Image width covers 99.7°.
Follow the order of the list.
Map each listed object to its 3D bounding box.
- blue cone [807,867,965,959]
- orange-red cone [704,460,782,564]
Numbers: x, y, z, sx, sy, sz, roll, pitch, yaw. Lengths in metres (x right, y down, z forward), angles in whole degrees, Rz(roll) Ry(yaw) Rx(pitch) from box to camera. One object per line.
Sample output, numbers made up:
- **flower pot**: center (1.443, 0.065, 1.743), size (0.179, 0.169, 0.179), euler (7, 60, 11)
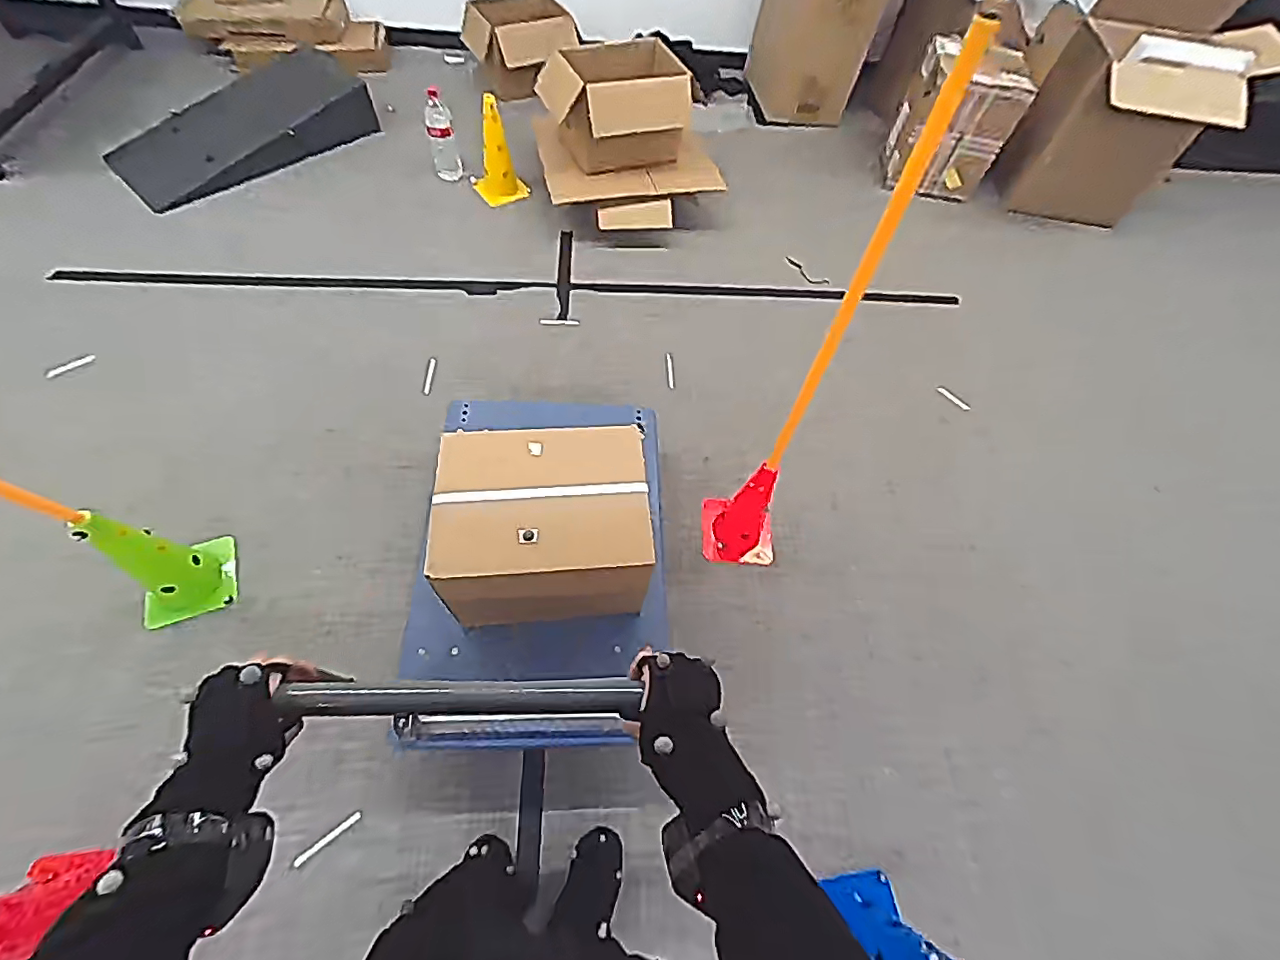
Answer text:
- **blue cone**: center (0.467, 0.837, 0.974), size (0.193, 0.380, 0.192), euler (-3, 58, -8)
- **orange-red cone**: center (0.301, 0.056, 1.412), size (0.199, 0.360, 0.198), euler (6, 59, -3)
